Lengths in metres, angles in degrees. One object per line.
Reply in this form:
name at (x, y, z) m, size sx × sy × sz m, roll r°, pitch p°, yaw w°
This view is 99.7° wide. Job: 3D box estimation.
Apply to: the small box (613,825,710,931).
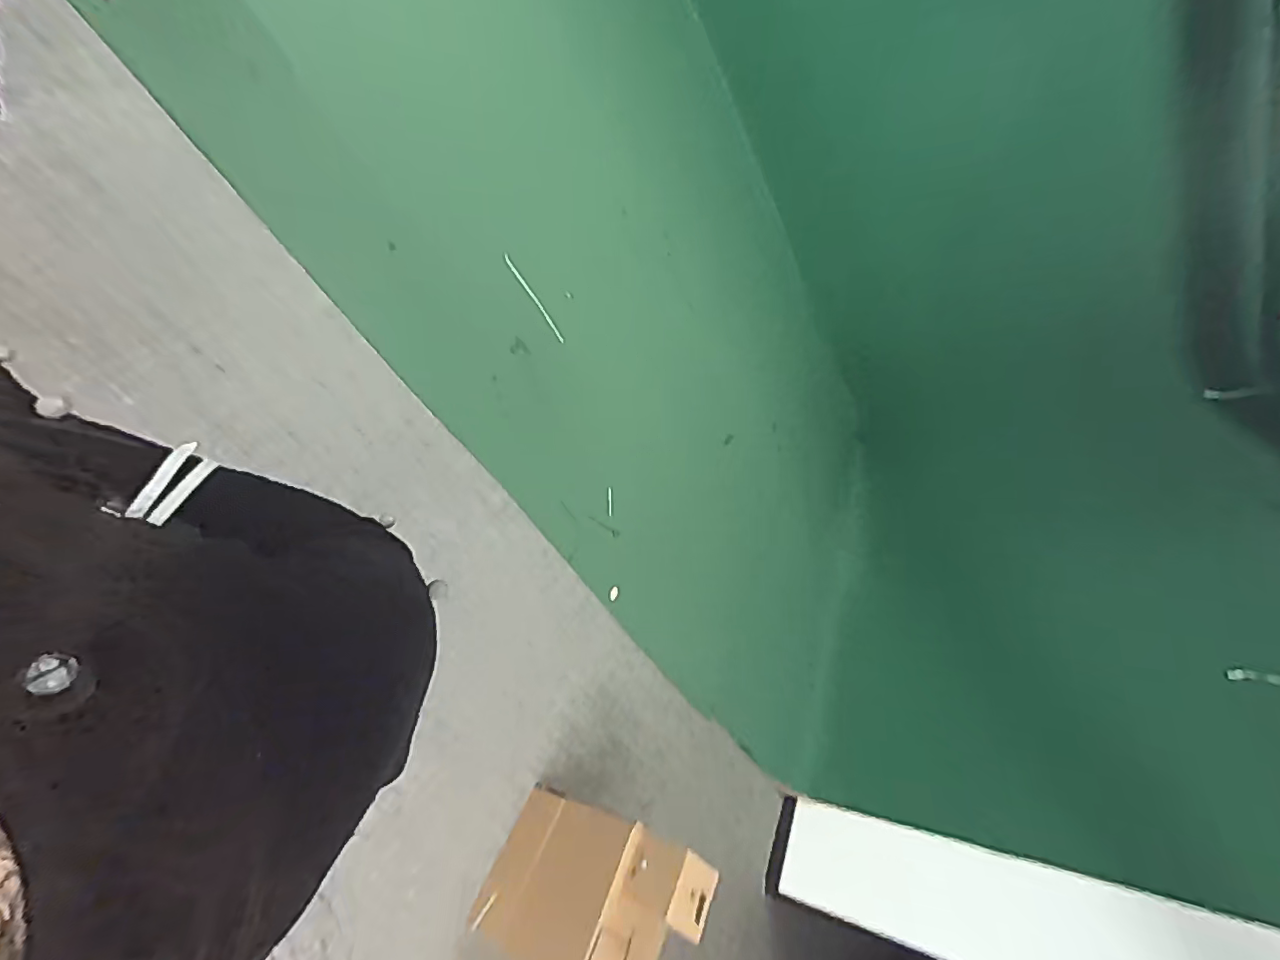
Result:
small box at (0.060, 1.100, 1.507) m, size 0.179 × 0.176 × 0.168 m, roll 53°, pitch 49°, yaw -27°
